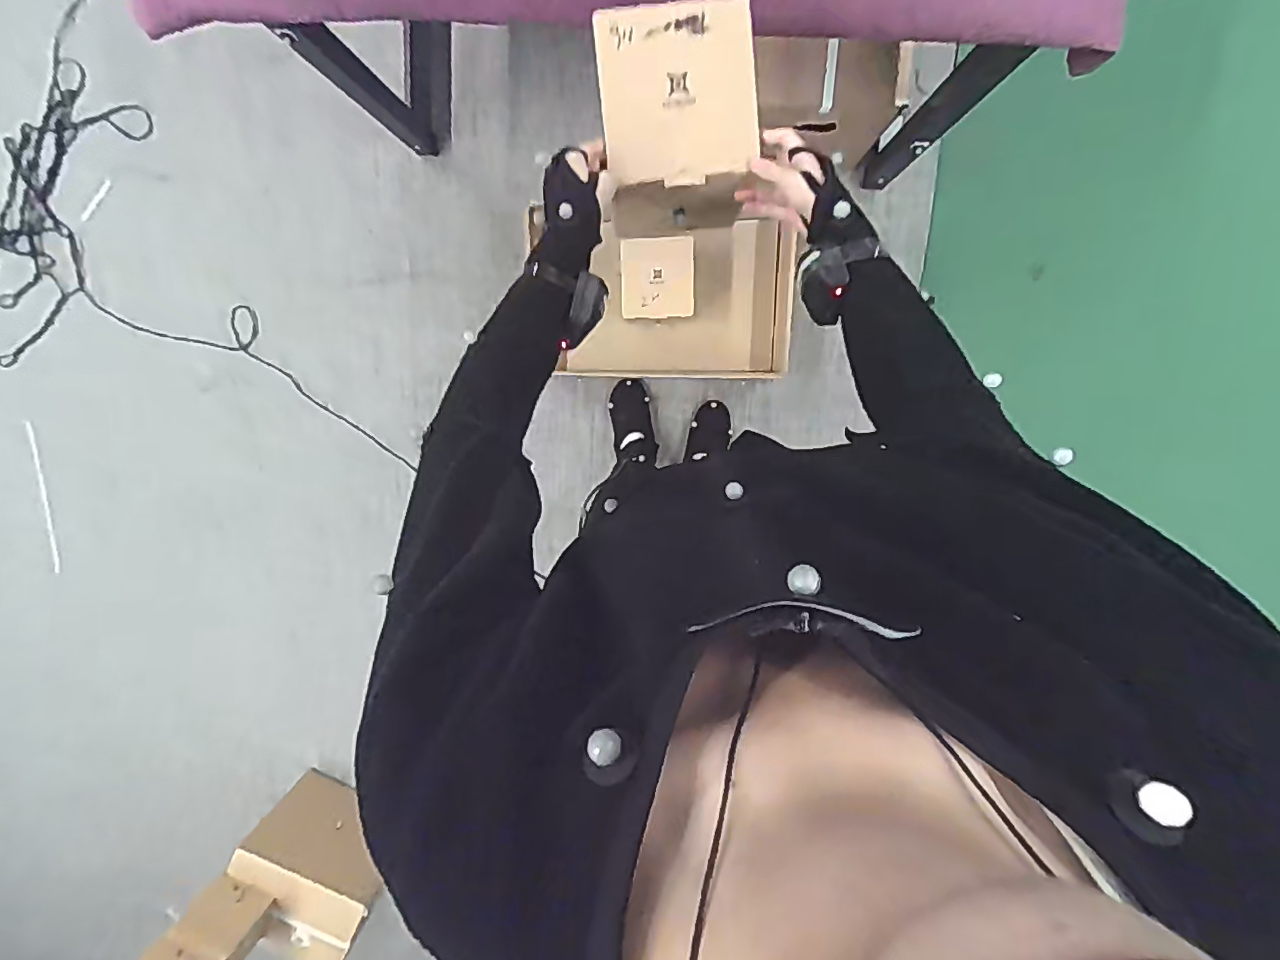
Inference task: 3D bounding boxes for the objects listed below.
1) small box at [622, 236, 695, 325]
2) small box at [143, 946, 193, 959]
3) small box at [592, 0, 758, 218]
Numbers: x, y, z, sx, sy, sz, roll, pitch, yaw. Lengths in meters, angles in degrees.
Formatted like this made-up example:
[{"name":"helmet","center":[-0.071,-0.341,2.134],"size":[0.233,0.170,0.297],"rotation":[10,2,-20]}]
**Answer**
[{"name":"small box","center":[0.044,-0.468,1.289],"size":[0.168,0.176,0.179],"rotation":[0,102,4]},{"name":"small box","center":[-1.151,1.262,1.264],"size":[0.168,0.176,0.179],"rotation":[23,101,-1]},{"name":"small box","center":[0.038,-0.424,0.637],"size":[0.168,0.176,0.179],"rotation":[-5,97,0]}]
